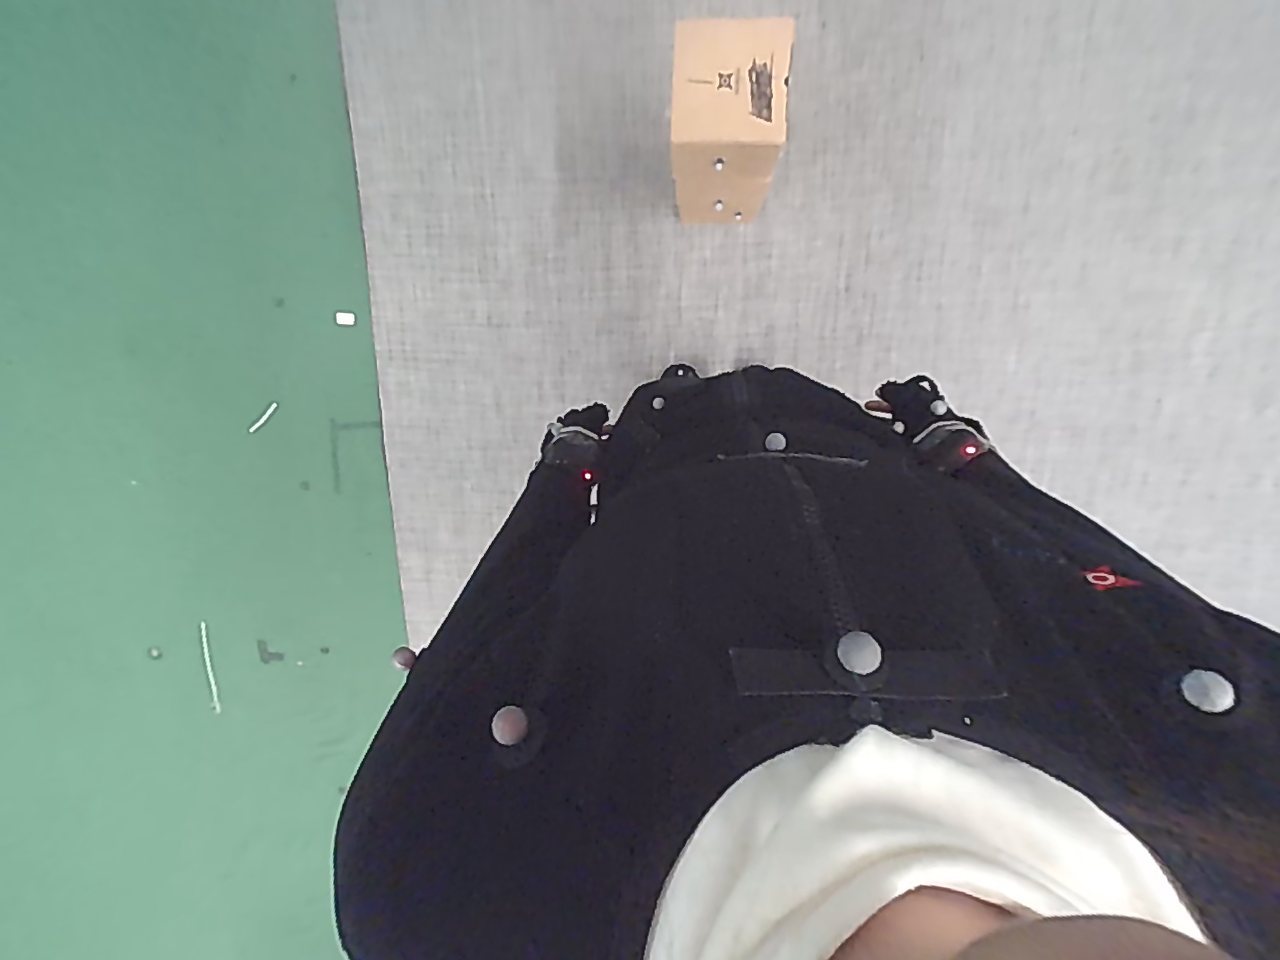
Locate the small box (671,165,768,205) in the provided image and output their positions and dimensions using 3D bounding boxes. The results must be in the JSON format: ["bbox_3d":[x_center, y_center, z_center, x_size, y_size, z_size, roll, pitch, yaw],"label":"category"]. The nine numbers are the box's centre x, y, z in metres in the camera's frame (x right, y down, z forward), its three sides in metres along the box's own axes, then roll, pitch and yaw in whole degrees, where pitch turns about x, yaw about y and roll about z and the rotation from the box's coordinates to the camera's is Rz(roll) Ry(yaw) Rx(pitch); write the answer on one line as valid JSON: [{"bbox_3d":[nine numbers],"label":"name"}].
[{"bbox_3d":[0.155,-0.644,1.046,0.179,0.176,0.168,5,103,3],"label":"small box"}]

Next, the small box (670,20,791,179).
[{"bbox_3d":[0.138,-0.610,0.886,0.179,0.176,0.168,0,103,4],"label":"small box"}]

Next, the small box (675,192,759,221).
[{"bbox_3d":[0.170,-0.685,1.204,0.179,0.176,0.168,1,102,6],"label":"small box"}]
